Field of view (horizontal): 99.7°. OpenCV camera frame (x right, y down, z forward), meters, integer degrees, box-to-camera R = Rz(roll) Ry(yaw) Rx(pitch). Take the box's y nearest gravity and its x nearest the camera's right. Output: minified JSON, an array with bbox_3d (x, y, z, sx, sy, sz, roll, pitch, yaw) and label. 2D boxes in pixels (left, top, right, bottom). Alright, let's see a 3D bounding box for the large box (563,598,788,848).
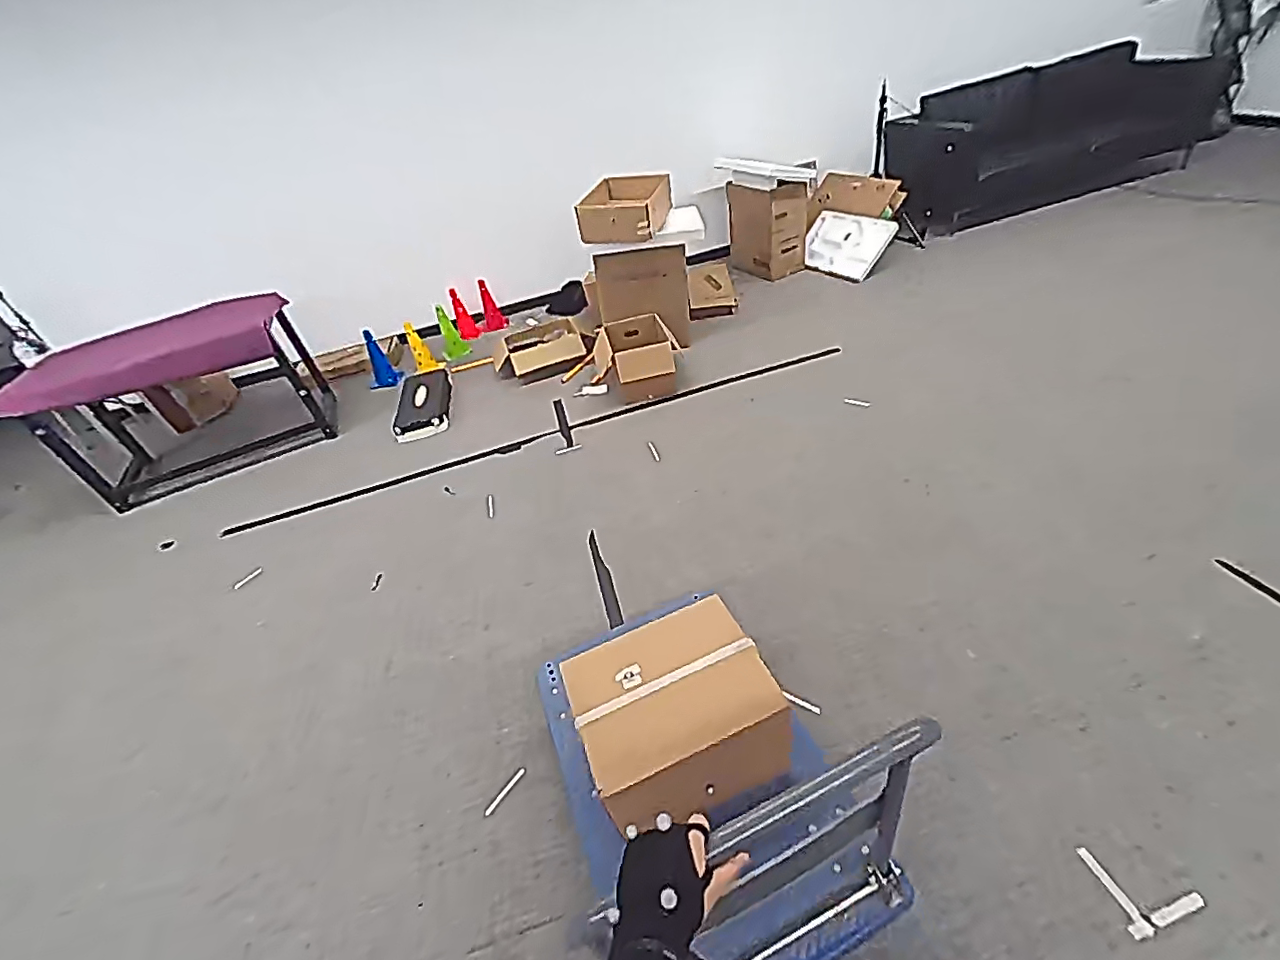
[{"bbox_3d":[0.087,0.551,1.245,0.408,0.320,0.320,-23,39,-10],"label":"large box"}]
